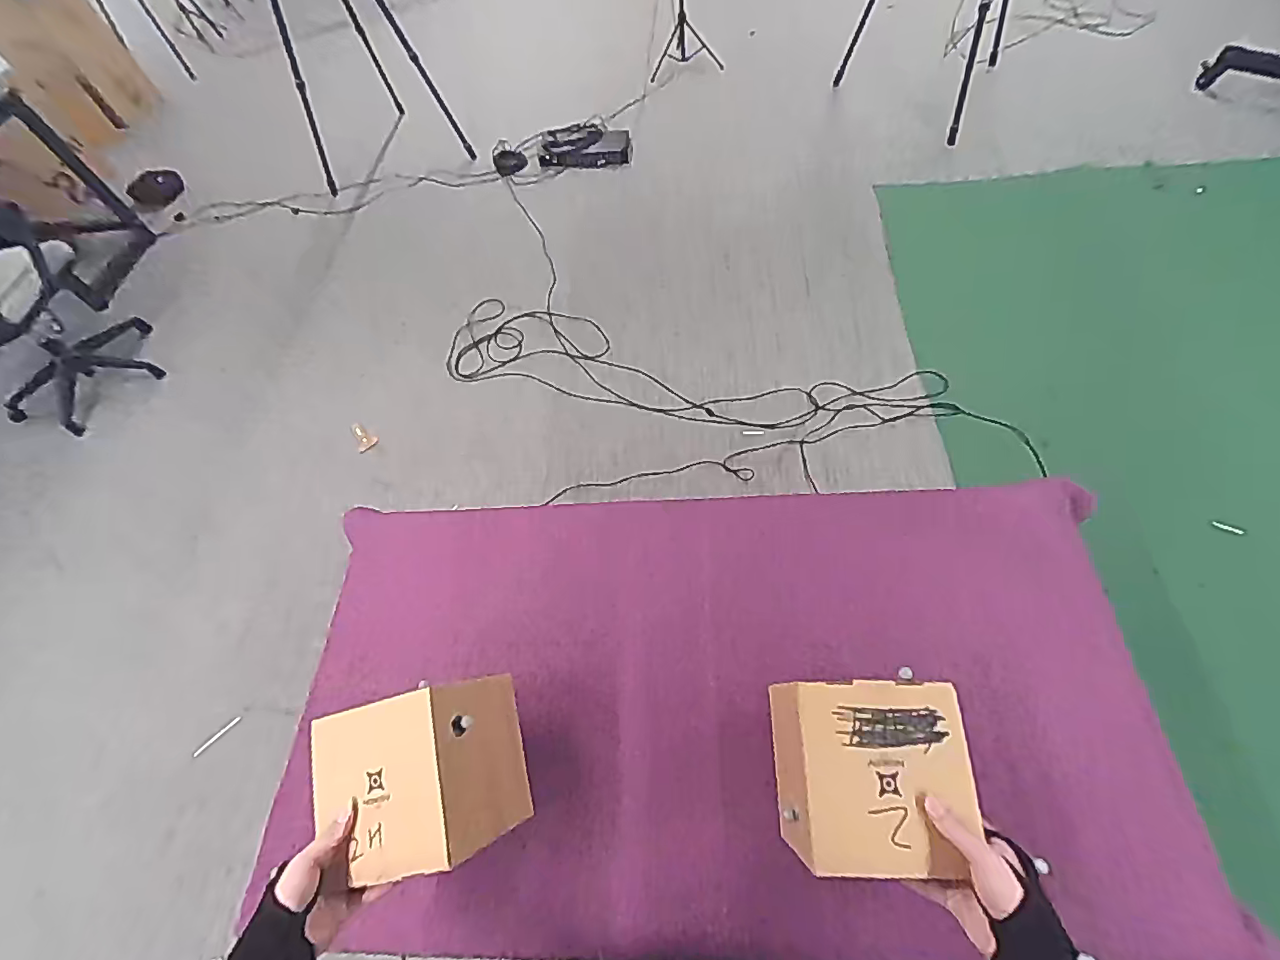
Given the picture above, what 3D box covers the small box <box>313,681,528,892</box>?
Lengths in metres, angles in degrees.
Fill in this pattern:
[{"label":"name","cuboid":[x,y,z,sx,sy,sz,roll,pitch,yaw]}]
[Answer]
[{"label":"small box","cuboid":[-0.255,0.348,0.647,0.168,0.176,0.179,-20,70,14]}]
